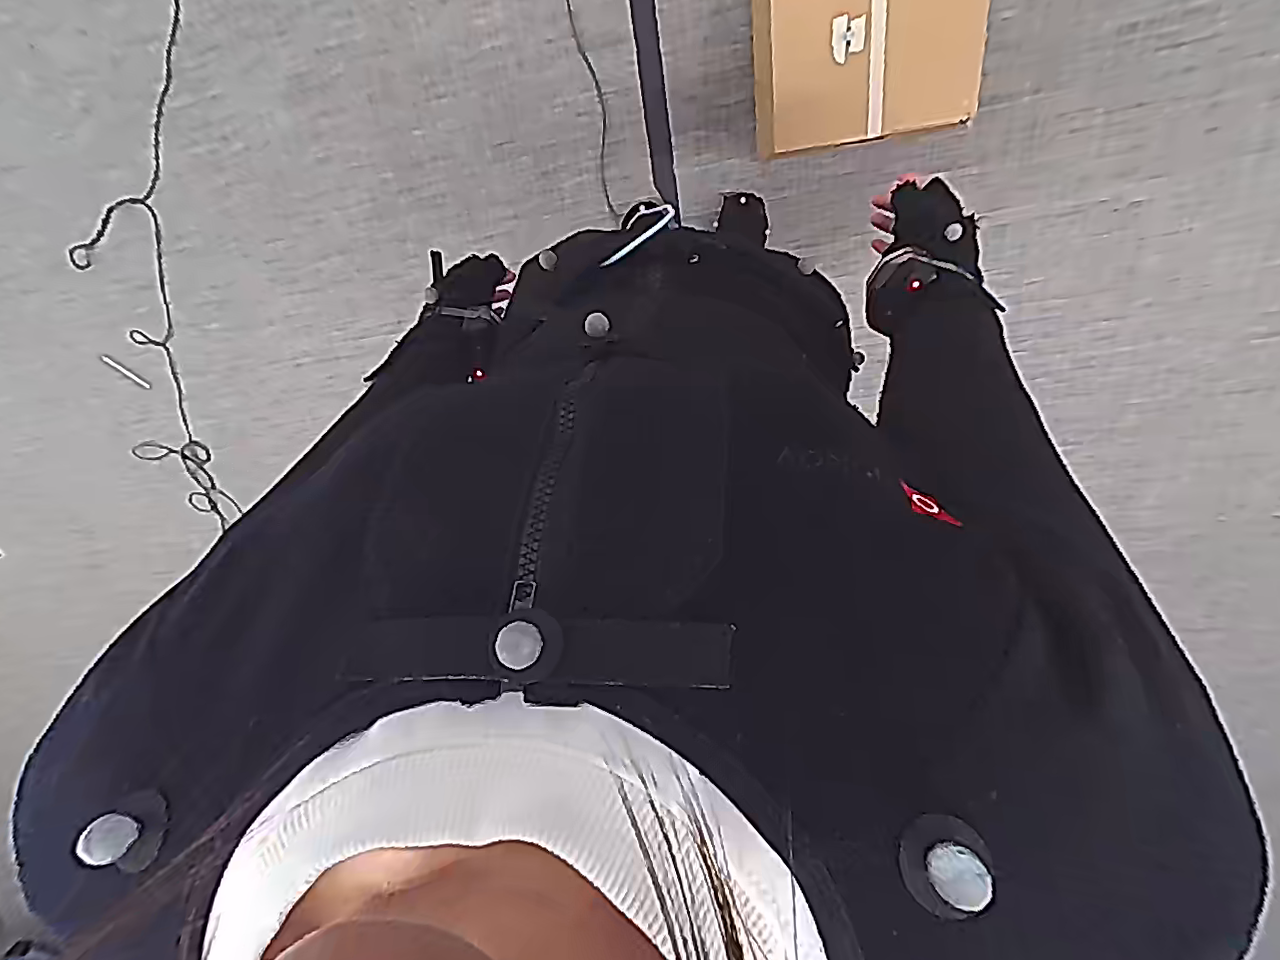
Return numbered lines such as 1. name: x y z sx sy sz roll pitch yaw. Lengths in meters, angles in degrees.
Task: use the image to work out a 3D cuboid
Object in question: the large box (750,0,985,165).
1. large box: 0.364 -0.800 0.929 0.320 0.320 0.408 -5 118 10
